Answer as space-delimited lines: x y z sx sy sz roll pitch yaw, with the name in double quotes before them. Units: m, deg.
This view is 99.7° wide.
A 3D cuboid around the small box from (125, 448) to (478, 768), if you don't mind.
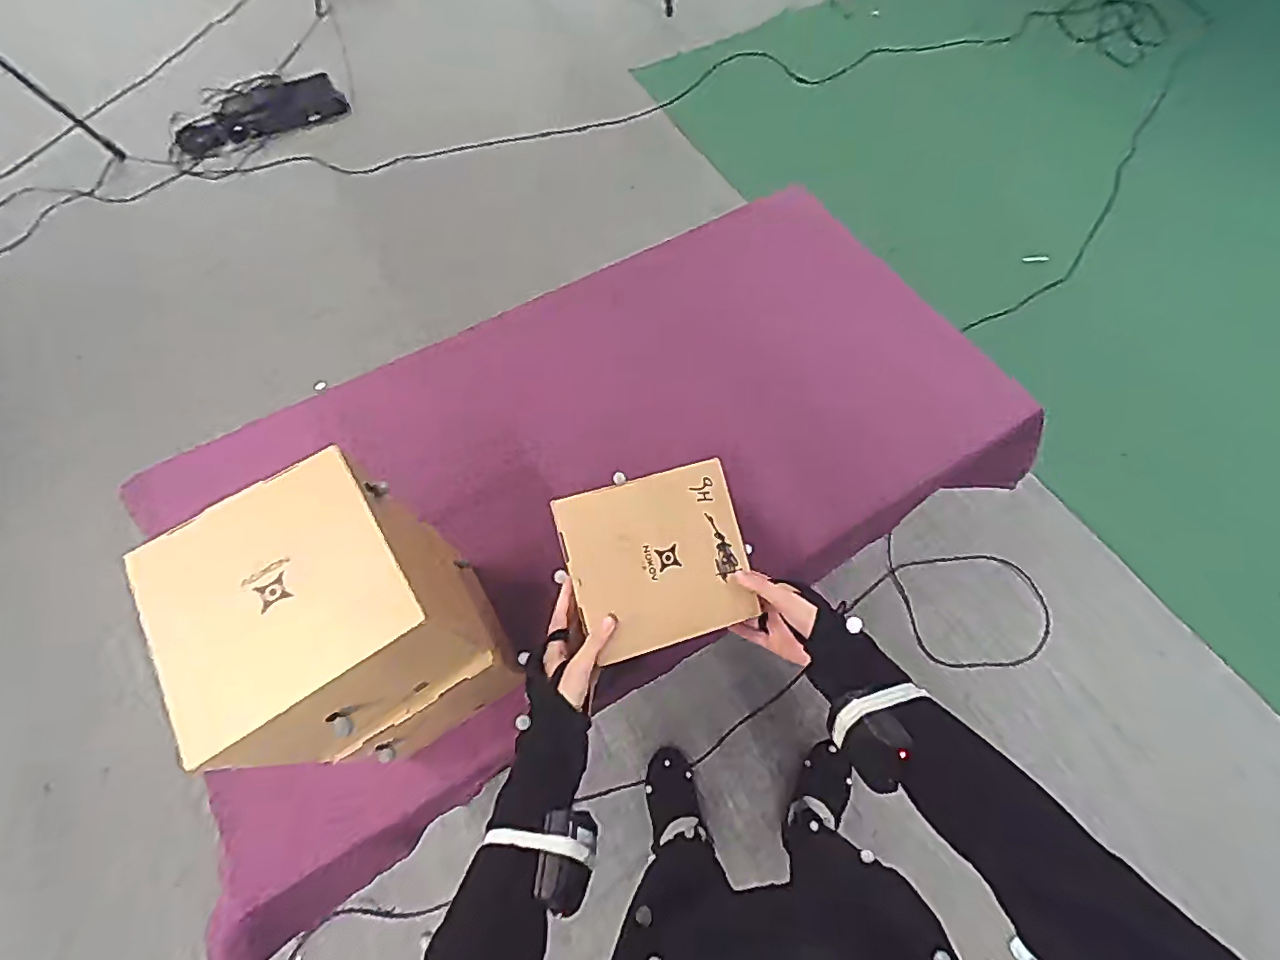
"small box" -0.265 0.111 0.461 0.168 0.176 0.179 -33 67 -13
